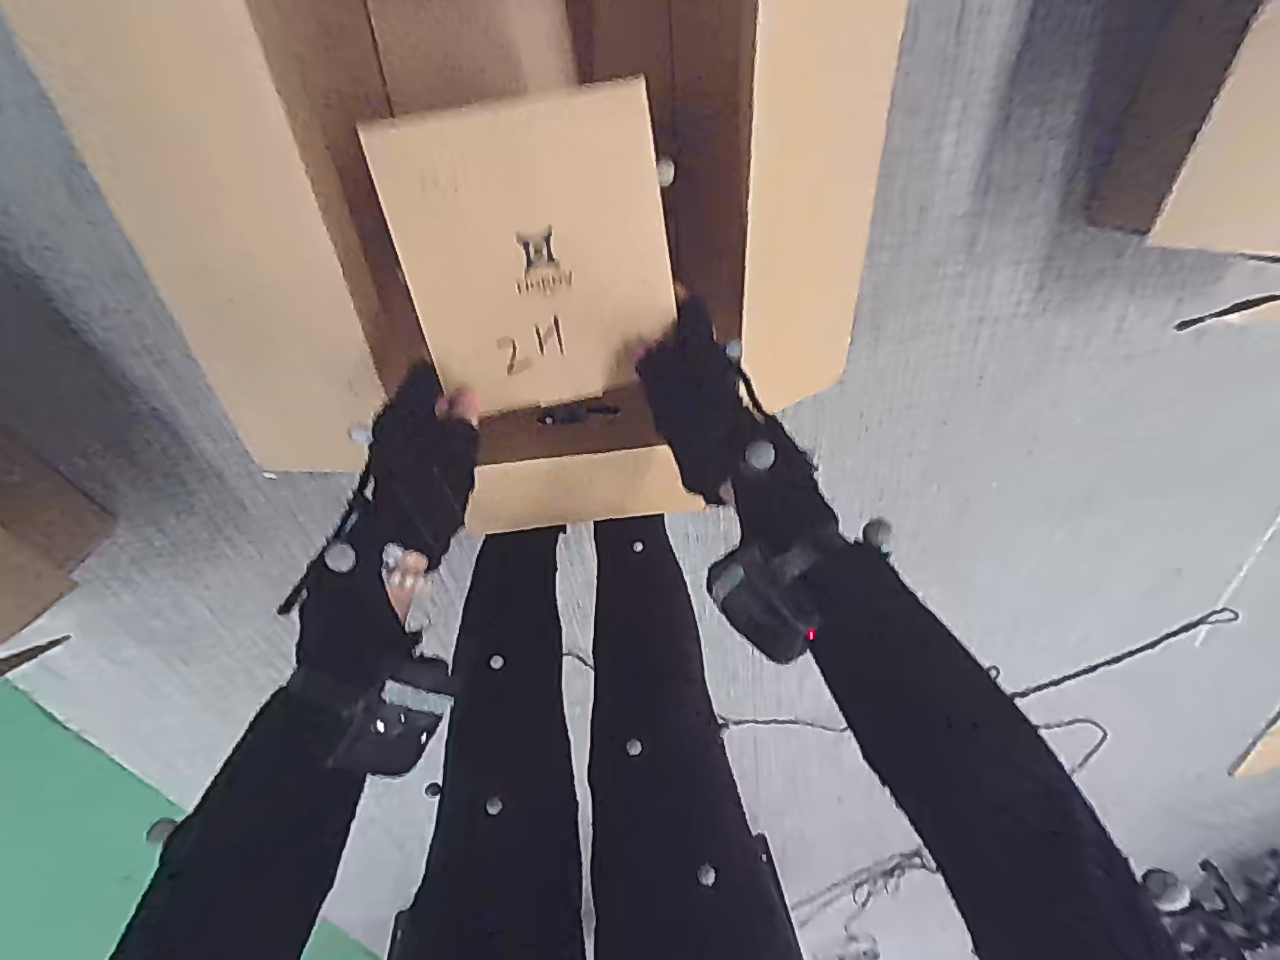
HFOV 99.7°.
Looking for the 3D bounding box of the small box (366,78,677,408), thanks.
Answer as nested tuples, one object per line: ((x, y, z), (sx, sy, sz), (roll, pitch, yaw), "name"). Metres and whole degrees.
((-0.076, -0.172, 0.415), (0.168, 0.176, 0.179), (-11, 115, -3), "small box")
